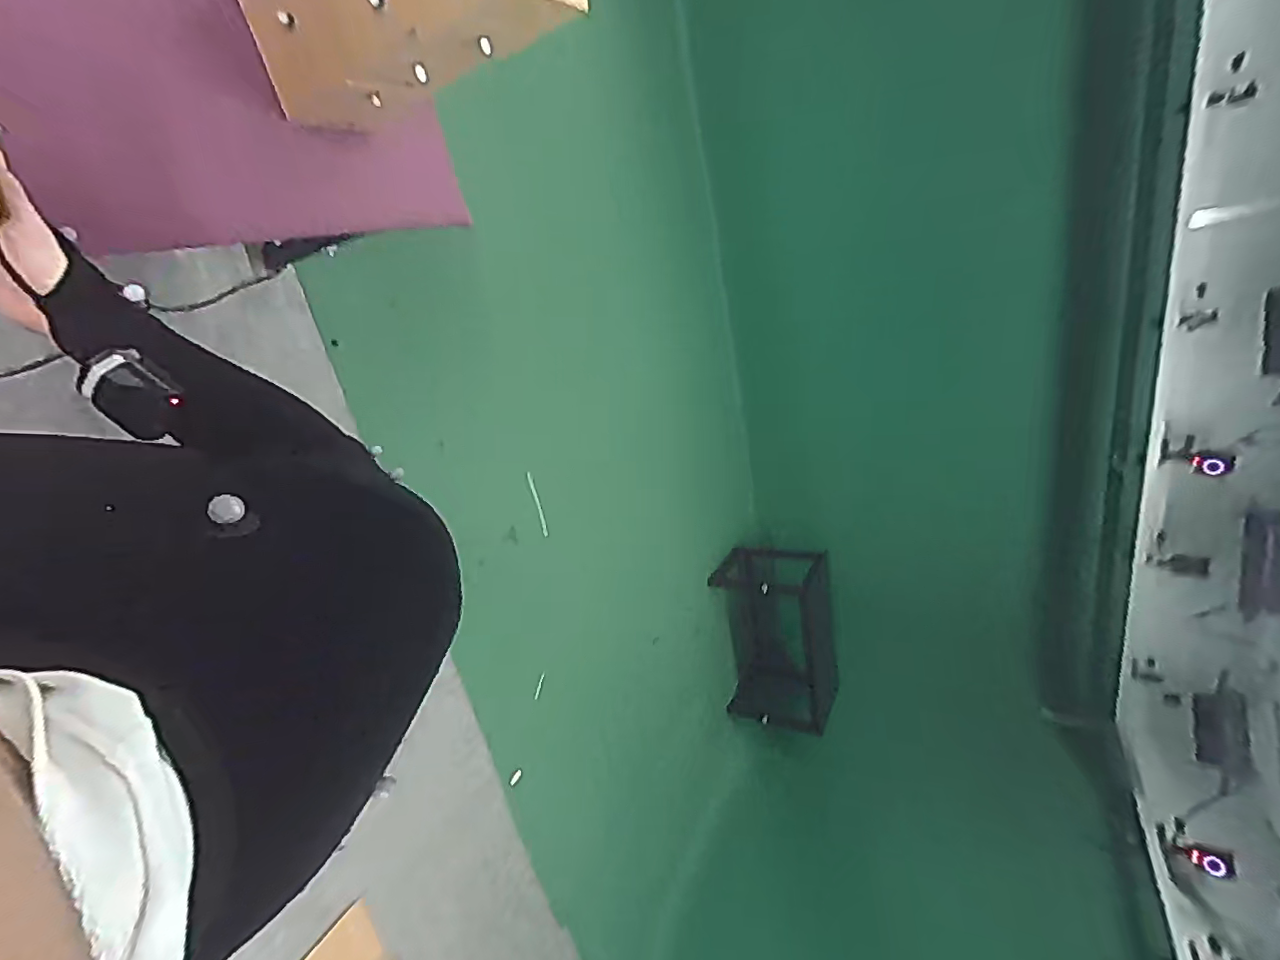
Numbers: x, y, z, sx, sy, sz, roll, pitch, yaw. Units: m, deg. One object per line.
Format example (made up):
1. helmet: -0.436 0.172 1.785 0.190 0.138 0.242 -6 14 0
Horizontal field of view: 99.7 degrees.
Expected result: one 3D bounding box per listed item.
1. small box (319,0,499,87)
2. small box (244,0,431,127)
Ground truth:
1. small box: -0.336 -0.690 0.760 0.168 0.176 0.179 -40 123 -51
2. small box: -0.475 -0.689 0.850 0.168 0.176 0.179 -41 123 -49
